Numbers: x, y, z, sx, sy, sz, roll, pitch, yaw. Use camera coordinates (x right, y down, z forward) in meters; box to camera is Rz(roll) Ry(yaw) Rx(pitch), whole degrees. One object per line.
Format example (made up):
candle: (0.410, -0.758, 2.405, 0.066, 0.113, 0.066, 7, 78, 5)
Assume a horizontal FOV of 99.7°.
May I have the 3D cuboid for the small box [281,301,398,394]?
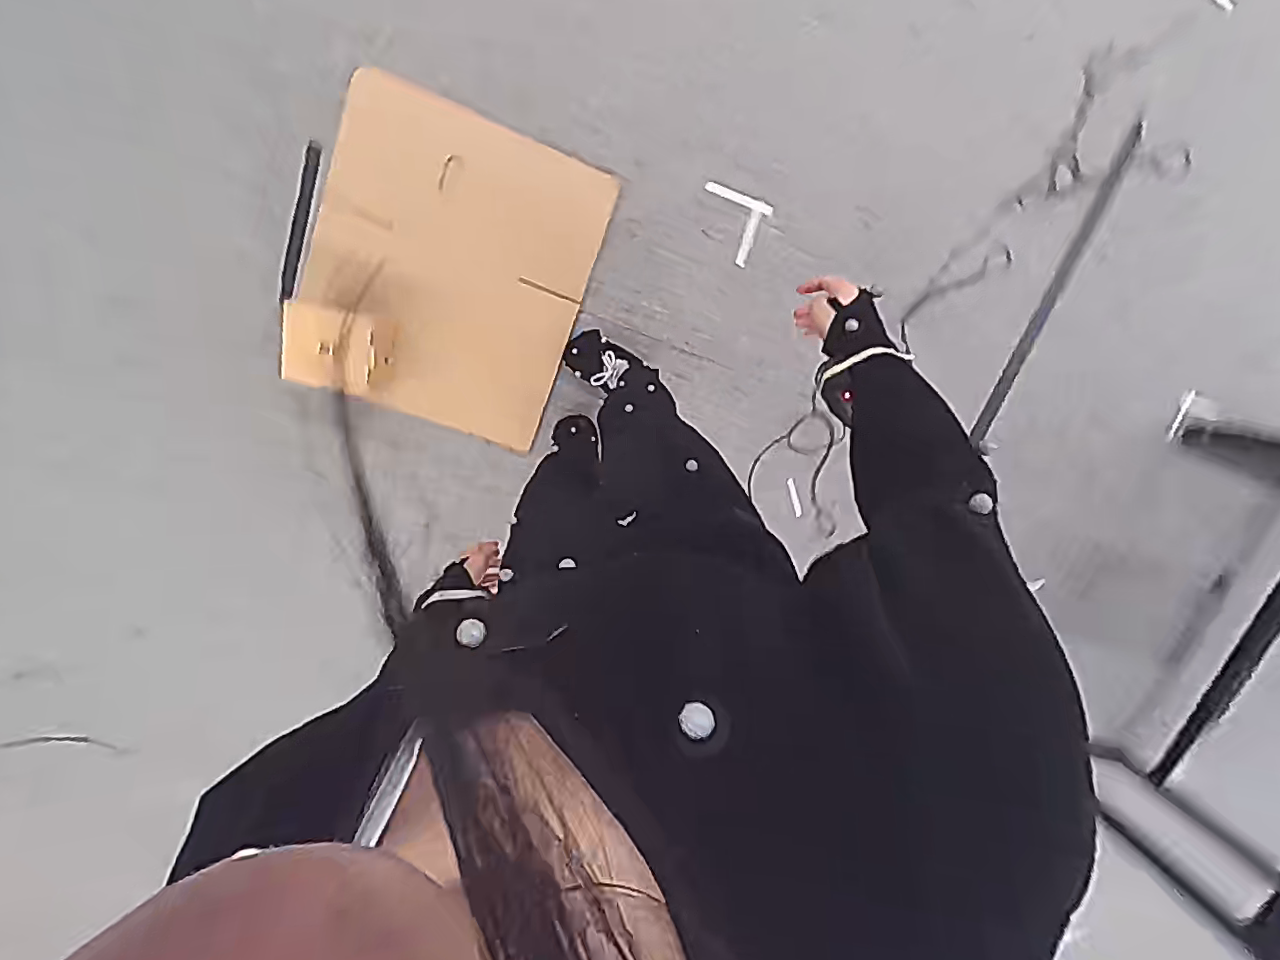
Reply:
small box: (-0.663, -0.294, 1.205, 0.179, 0.176, 0.168, 8, 104, -10)
